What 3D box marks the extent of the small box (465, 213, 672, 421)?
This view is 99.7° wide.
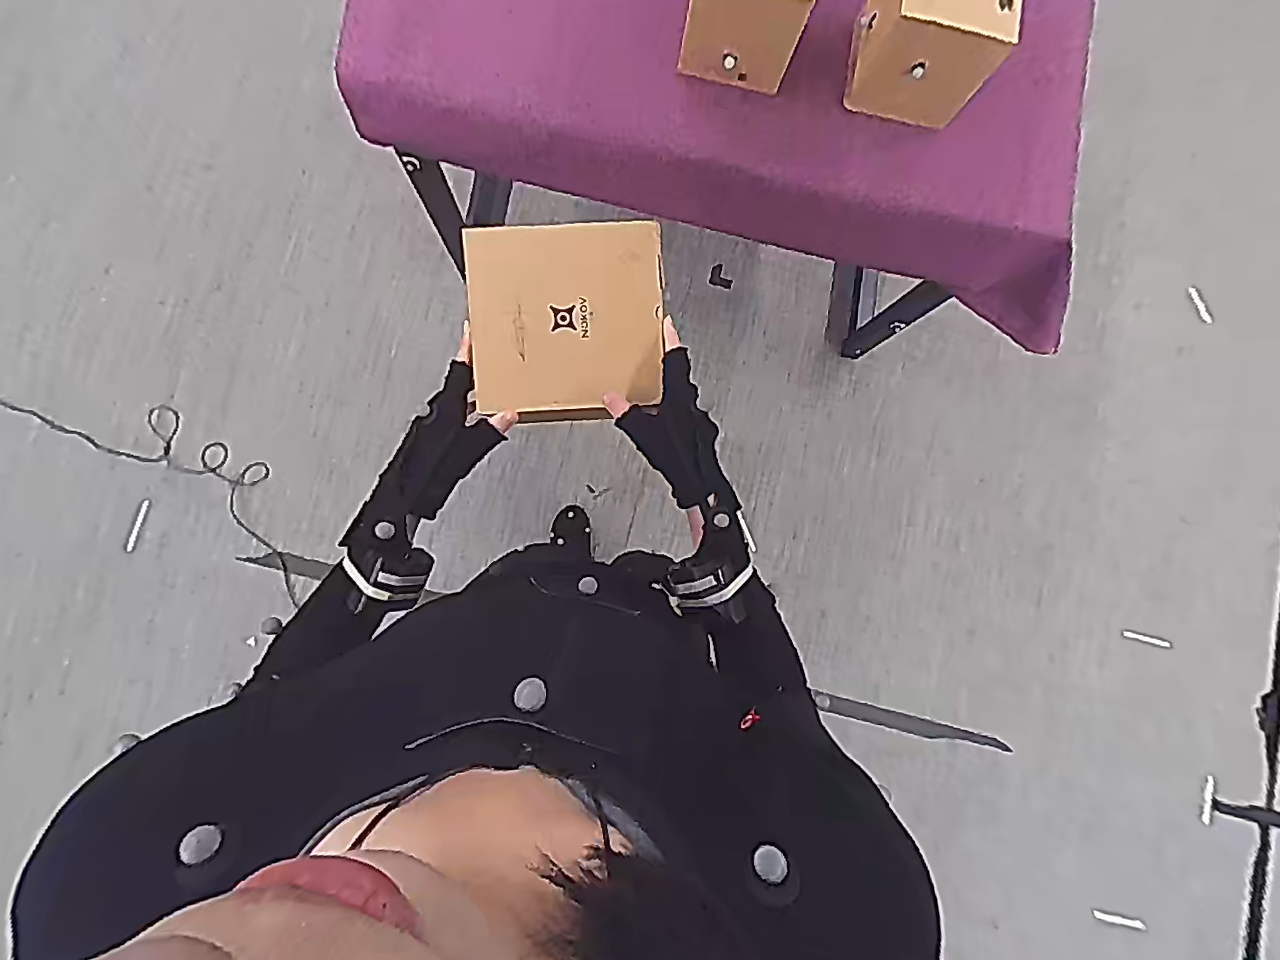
[{"bbox_3d":[-0.066,-0.153,0.558,0.179,0.176,0.168,-4,91,-1],"label":"small box"}]

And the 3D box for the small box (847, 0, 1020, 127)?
[{"bbox_3d":[0.441,-0.683,0.828,0.179,0.176,0.168,10,84,-3],"label":"small box"}]

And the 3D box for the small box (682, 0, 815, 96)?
[{"bbox_3d":[0.165,-0.733,0.809,0.168,0.176,0.179,11,84,-4],"label":"small box"}]
